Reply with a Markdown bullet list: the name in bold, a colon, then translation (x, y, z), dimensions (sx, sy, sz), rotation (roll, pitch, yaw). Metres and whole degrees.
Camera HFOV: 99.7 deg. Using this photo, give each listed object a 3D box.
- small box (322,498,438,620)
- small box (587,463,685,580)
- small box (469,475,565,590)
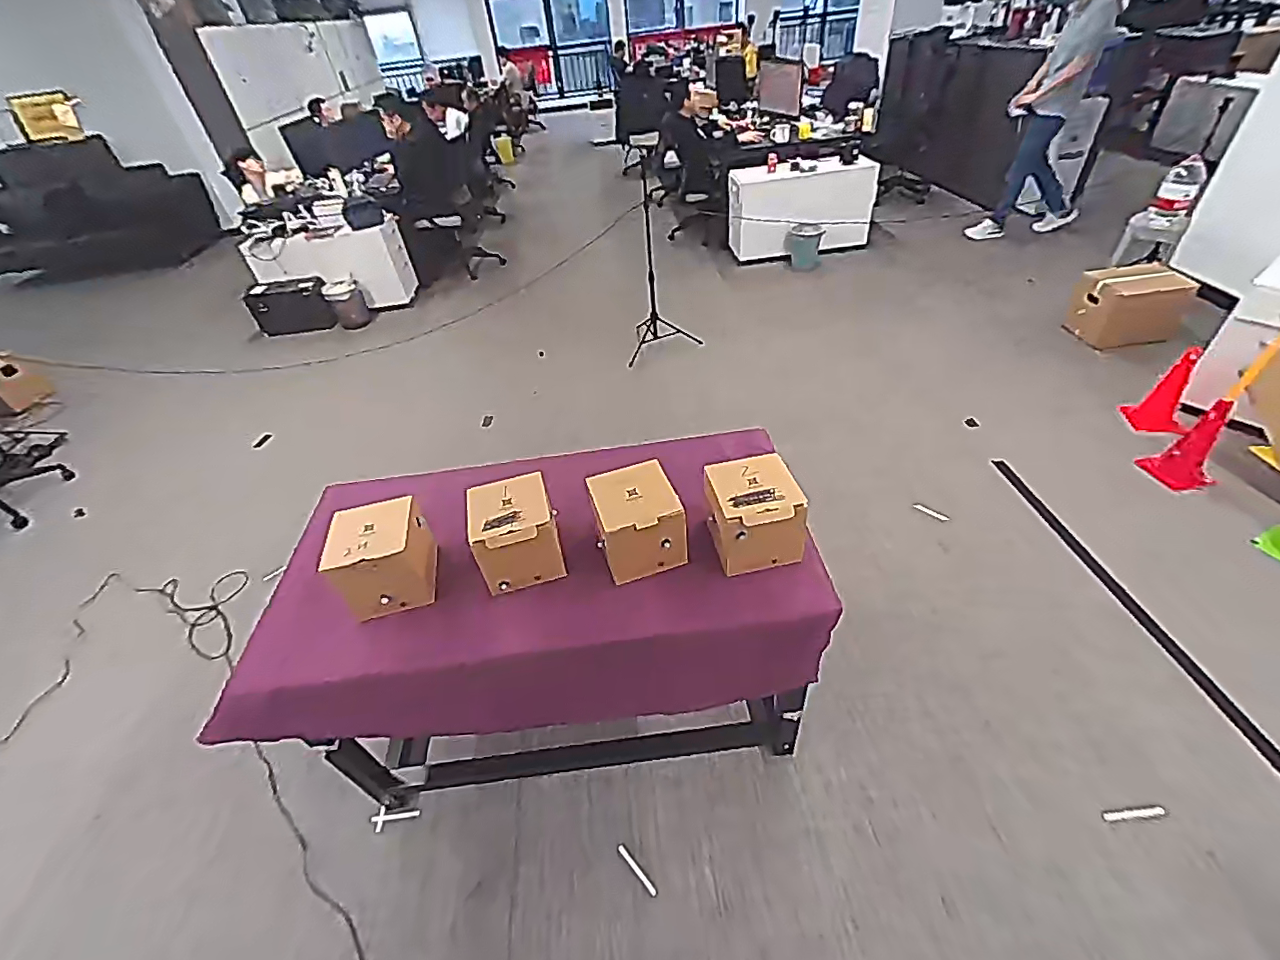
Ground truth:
- **small box**: translation (-0.545, 0.170, 1.163), dimensions (0.168, 0.176, 0.179), rotation (-13, 41, -6)
- **small box**: translation (-0.005, 0.096, 1.175), dimensions (0.168, 0.176, 0.179), rotation (-15, 41, -10)
- **small box**: translation (-0.267, 0.120, 1.182), dimensions (0.168, 0.176, 0.179), rotation (-14, 41, -8)
